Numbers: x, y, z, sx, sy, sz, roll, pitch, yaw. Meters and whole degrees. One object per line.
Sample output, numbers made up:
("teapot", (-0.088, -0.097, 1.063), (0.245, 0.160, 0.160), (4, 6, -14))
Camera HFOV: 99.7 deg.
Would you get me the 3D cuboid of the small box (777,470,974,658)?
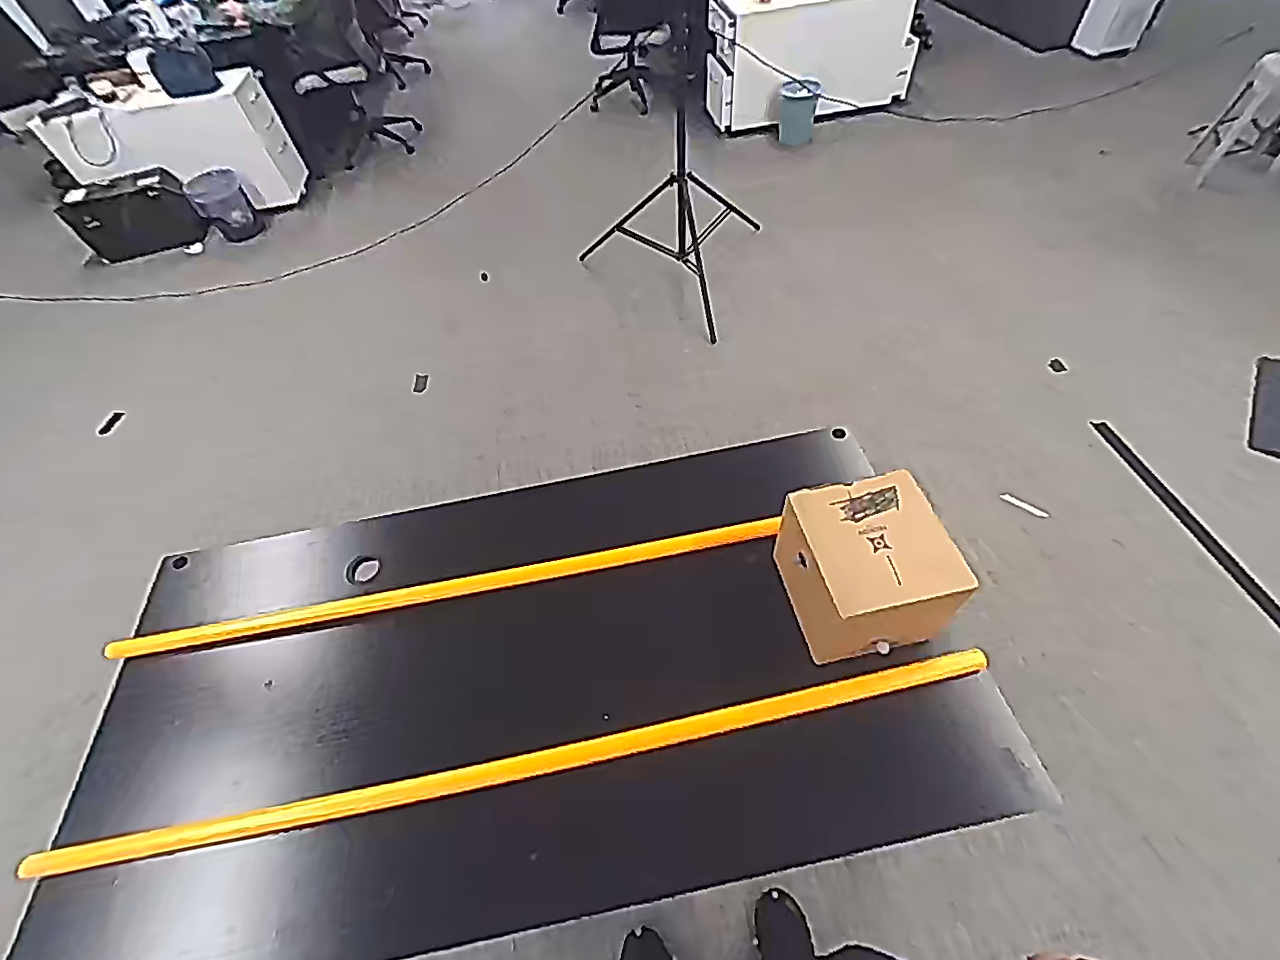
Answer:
("small box", (0.294, 0.115, 0.726), (0.168, 0.176, 0.179), (-12, 54, -2))
